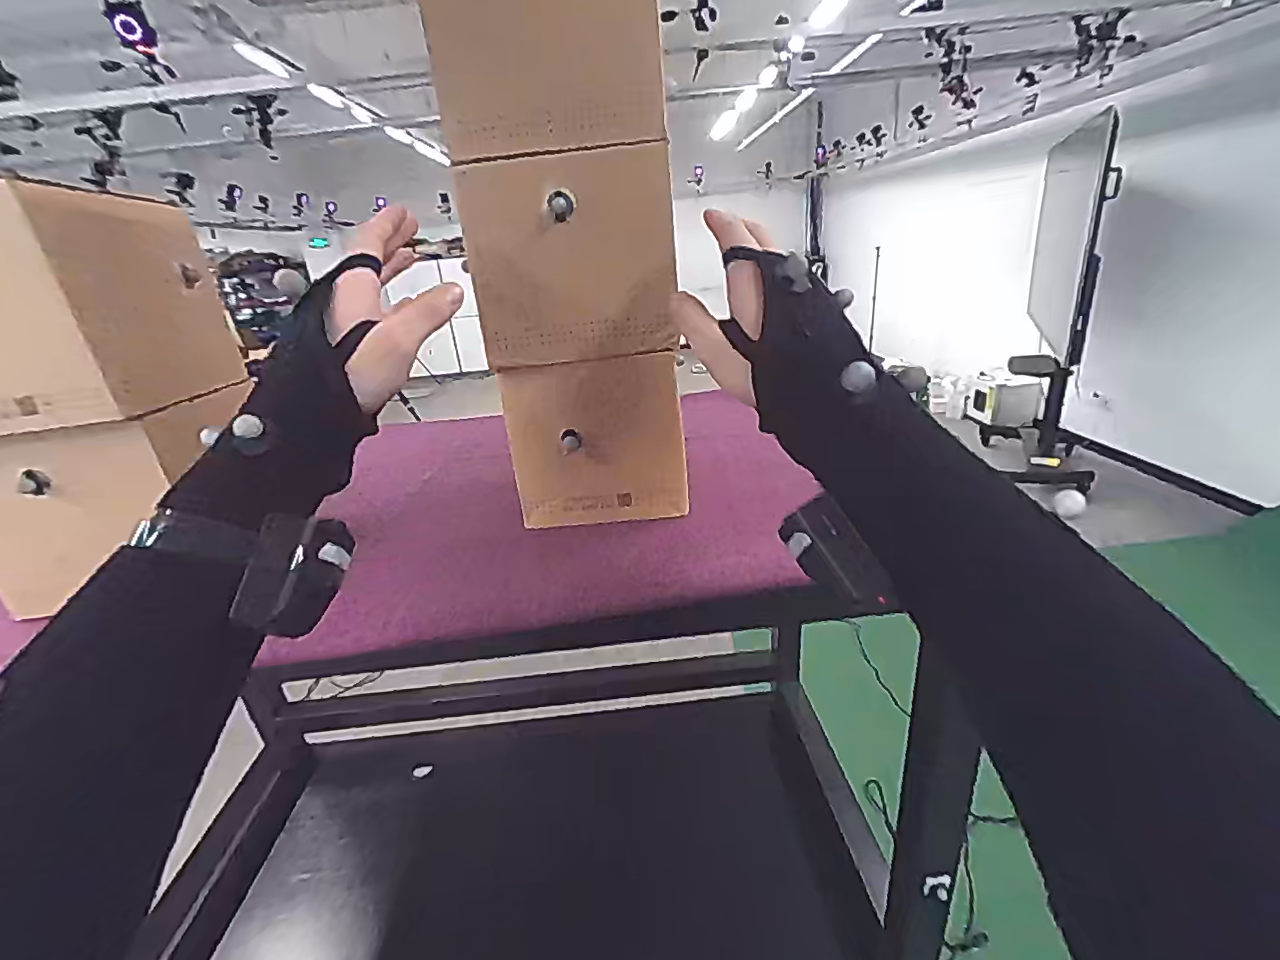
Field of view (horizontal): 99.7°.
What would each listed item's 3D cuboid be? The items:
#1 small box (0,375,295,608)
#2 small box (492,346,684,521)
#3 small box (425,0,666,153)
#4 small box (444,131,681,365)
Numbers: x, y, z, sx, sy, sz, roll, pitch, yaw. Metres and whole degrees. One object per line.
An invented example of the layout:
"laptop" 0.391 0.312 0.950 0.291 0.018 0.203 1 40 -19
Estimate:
"small box" -0.482 0.005 0.523 0.179 0.176 0.168 -7 23 -4
"small box" -0.043 -0.062 0.586 0.168 0.176 0.179 -5 22 3
"small box" -0.075 -0.365 0.467 0.179 0.176 0.168 -5 22 1
"small box" -0.061 -0.210 0.518 0.179 0.176 0.168 -6 22 -1
